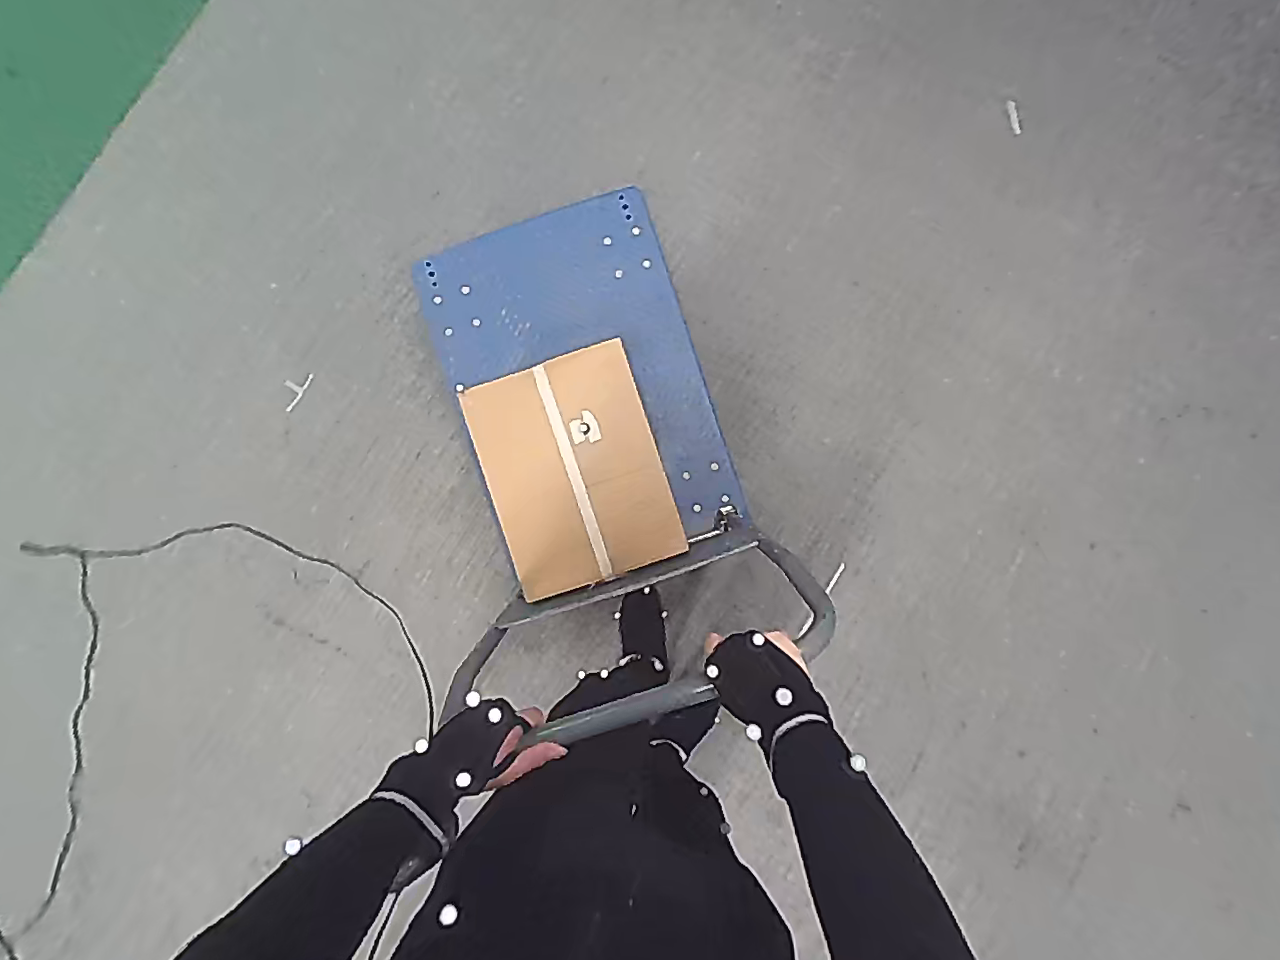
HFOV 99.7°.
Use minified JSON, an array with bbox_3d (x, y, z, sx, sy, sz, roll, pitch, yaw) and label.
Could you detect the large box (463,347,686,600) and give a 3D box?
[{"bbox_3d":[-0.115,-0.010,1.143,0.320,0.320,0.408,-19,89,1],"label":"large box"}]
